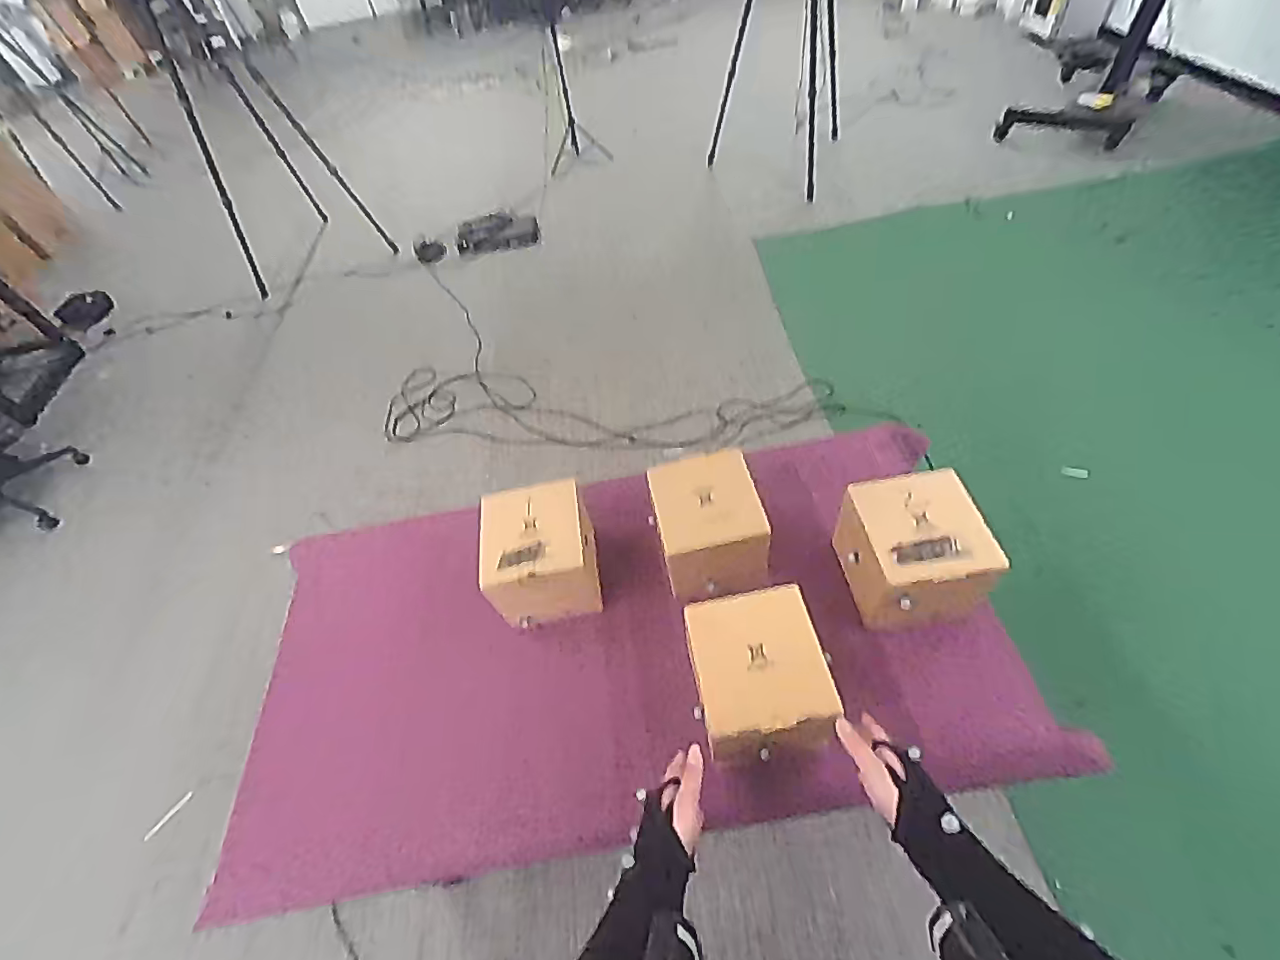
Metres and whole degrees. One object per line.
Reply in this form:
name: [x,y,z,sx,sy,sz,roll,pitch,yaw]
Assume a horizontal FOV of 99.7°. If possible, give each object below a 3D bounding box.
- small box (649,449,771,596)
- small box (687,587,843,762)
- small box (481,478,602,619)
small box: [0.116,0.076,0.932,0.168,0.176,0.179,-12,53,1]
small box: [0.164,0.279,0.770,0.168,0.176,0.179,-11,52,0]
small box: [-0.165,0.126,0.935,0.168,0.176,0.179,-11,52,0]
